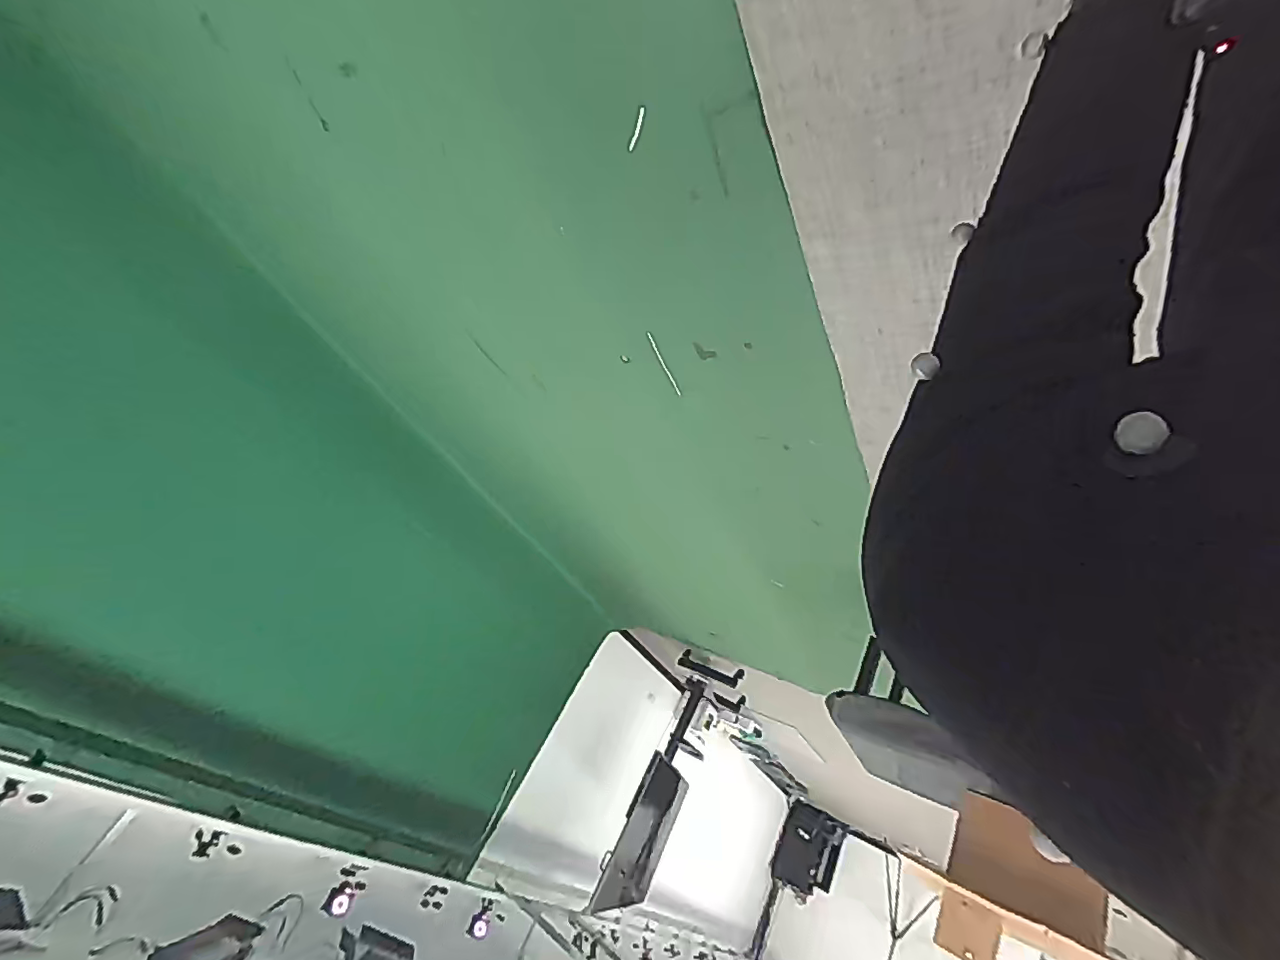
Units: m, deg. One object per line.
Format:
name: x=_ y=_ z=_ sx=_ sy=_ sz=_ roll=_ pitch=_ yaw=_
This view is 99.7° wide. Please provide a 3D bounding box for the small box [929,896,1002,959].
small box: x=1.029 y=1.461 z=1.705 sx=0.168 sy=0.176 sz=0.179 roll=10 pitch=145 yaw=40
